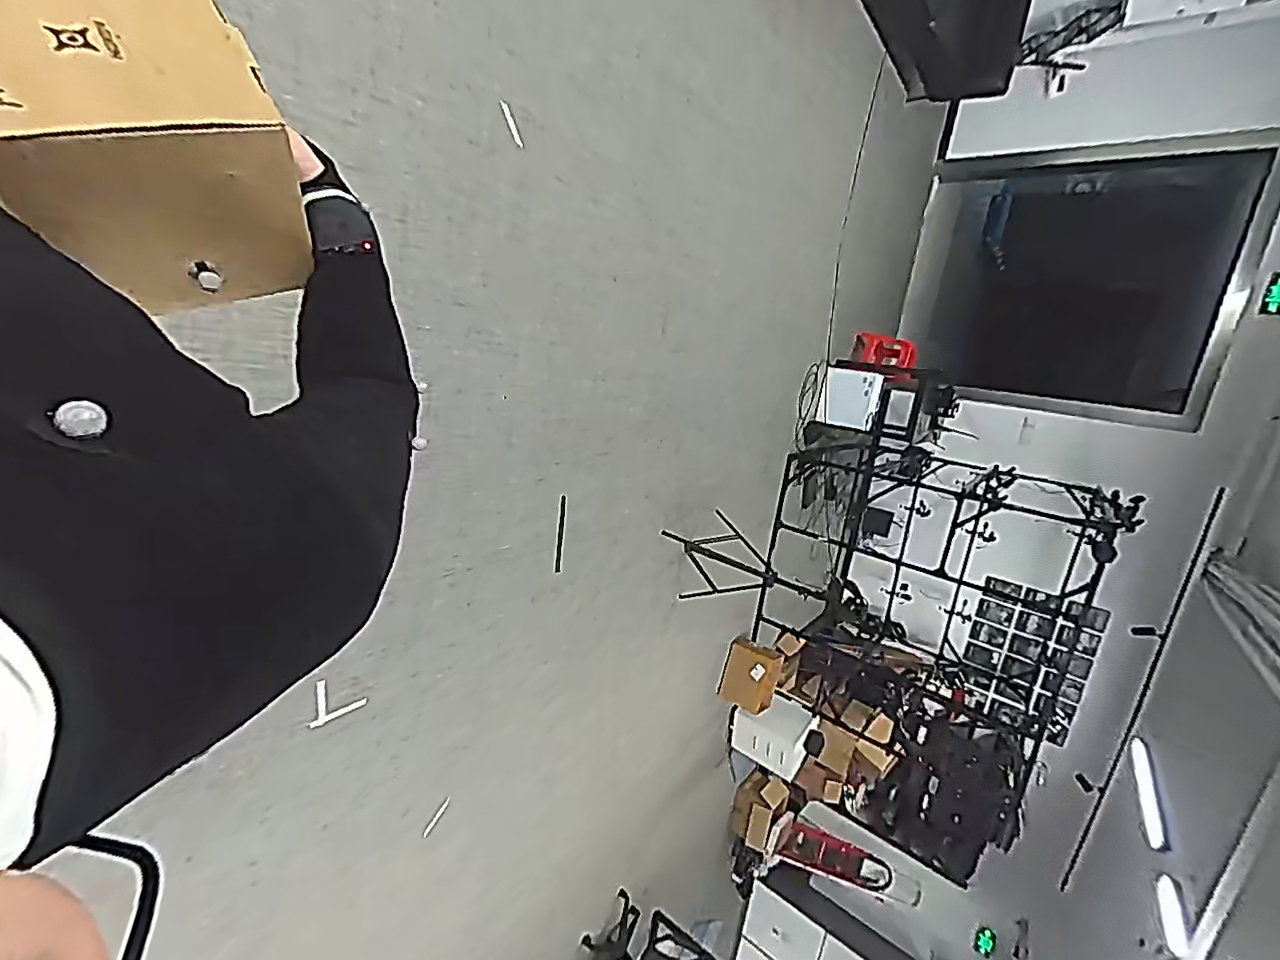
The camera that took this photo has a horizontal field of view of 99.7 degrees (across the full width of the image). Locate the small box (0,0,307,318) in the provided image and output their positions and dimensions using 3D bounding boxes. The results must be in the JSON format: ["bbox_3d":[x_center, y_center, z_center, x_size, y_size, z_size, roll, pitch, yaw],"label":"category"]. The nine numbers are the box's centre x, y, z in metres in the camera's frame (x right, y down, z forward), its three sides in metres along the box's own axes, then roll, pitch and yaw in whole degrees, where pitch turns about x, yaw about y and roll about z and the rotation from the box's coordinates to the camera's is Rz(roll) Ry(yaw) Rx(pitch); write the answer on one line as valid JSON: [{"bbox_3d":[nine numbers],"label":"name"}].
[{"bbox_3d":[-0.402,-0.264,0.448,0.179,0.168,0.176,-27,168,-31],"label":"small box"}]
